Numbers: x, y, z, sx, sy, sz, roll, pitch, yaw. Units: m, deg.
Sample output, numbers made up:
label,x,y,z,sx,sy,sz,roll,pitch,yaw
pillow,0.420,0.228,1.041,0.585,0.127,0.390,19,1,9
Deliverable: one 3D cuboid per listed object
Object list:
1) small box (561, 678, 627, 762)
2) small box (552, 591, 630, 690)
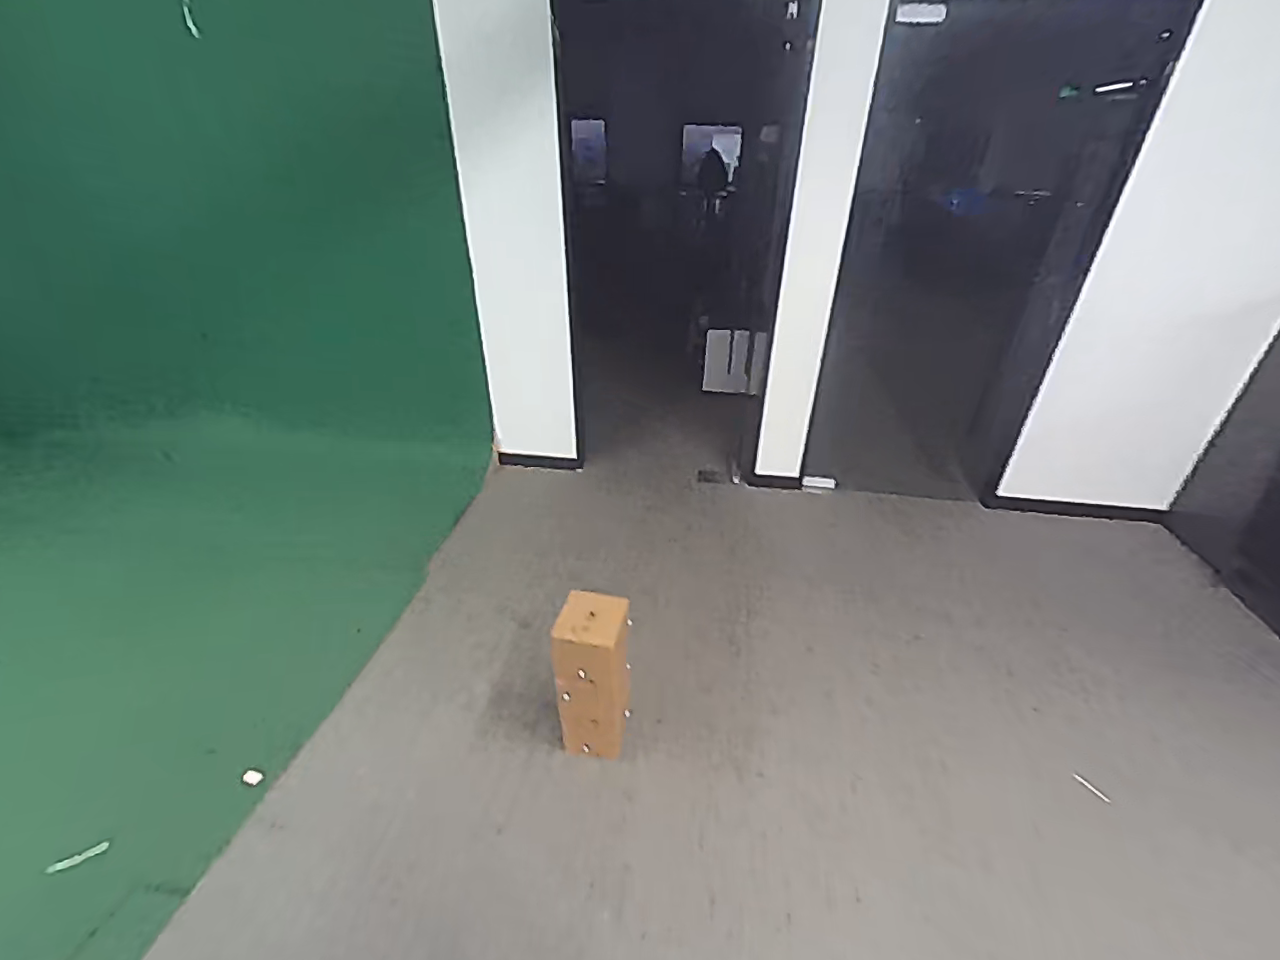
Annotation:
label,x,y,z,sx,sy,sz,roll,pitch,yaw
small box,-0.136,0.714,1.637,0.168,0.176,0.179,6,32,7
small box,-0.130,0.433,1.467,0.168,0.176,0.179,8,32,11
